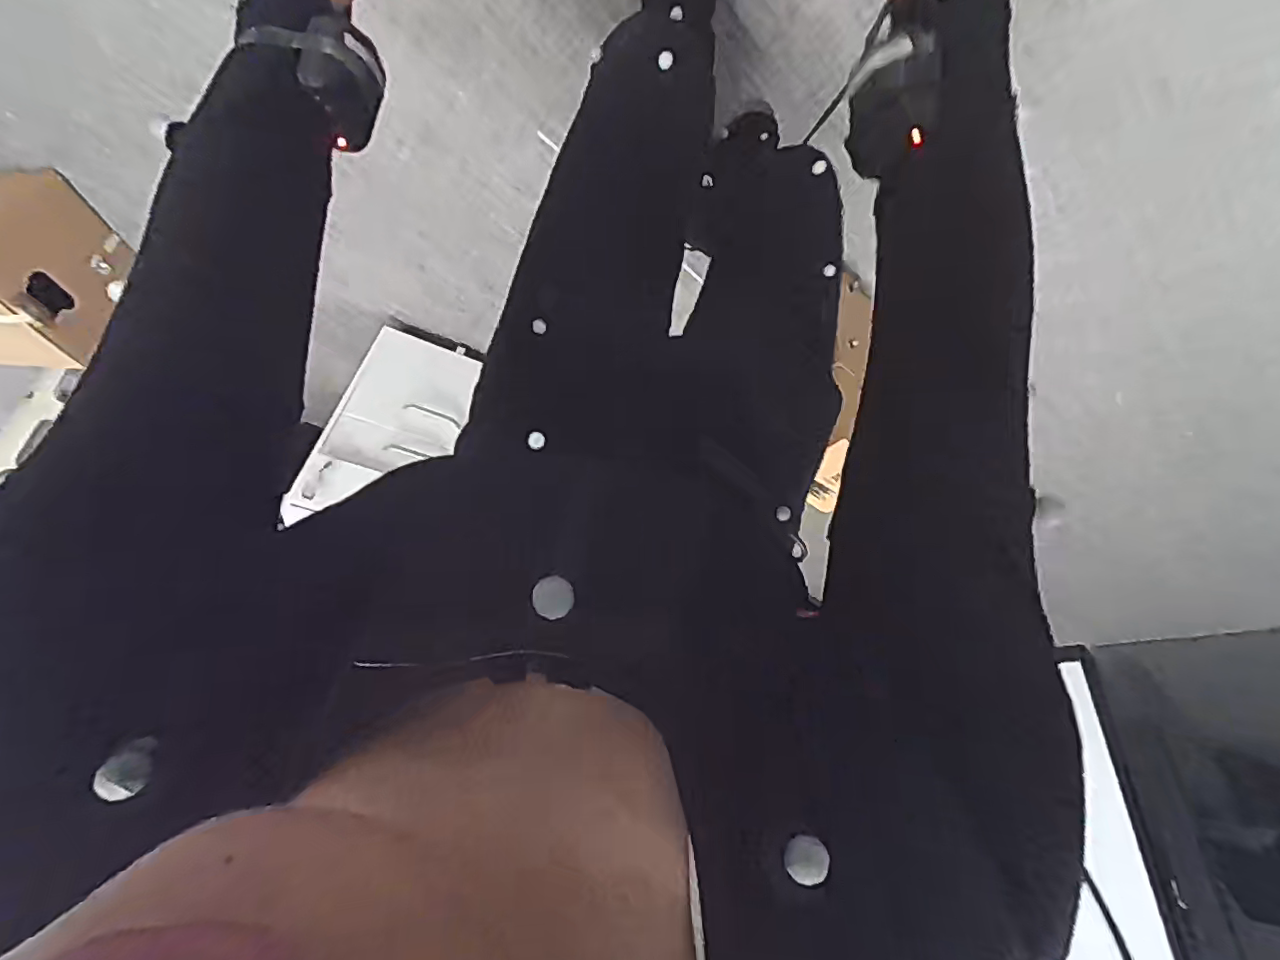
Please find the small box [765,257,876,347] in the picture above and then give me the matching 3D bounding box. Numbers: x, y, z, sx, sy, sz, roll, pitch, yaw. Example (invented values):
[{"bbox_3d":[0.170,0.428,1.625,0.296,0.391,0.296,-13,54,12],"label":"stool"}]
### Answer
[{"bbox_3d":[0.392,-0.355,1.186,0.179,0.176,0.168,29,143,-29],"label":"small box"}]
